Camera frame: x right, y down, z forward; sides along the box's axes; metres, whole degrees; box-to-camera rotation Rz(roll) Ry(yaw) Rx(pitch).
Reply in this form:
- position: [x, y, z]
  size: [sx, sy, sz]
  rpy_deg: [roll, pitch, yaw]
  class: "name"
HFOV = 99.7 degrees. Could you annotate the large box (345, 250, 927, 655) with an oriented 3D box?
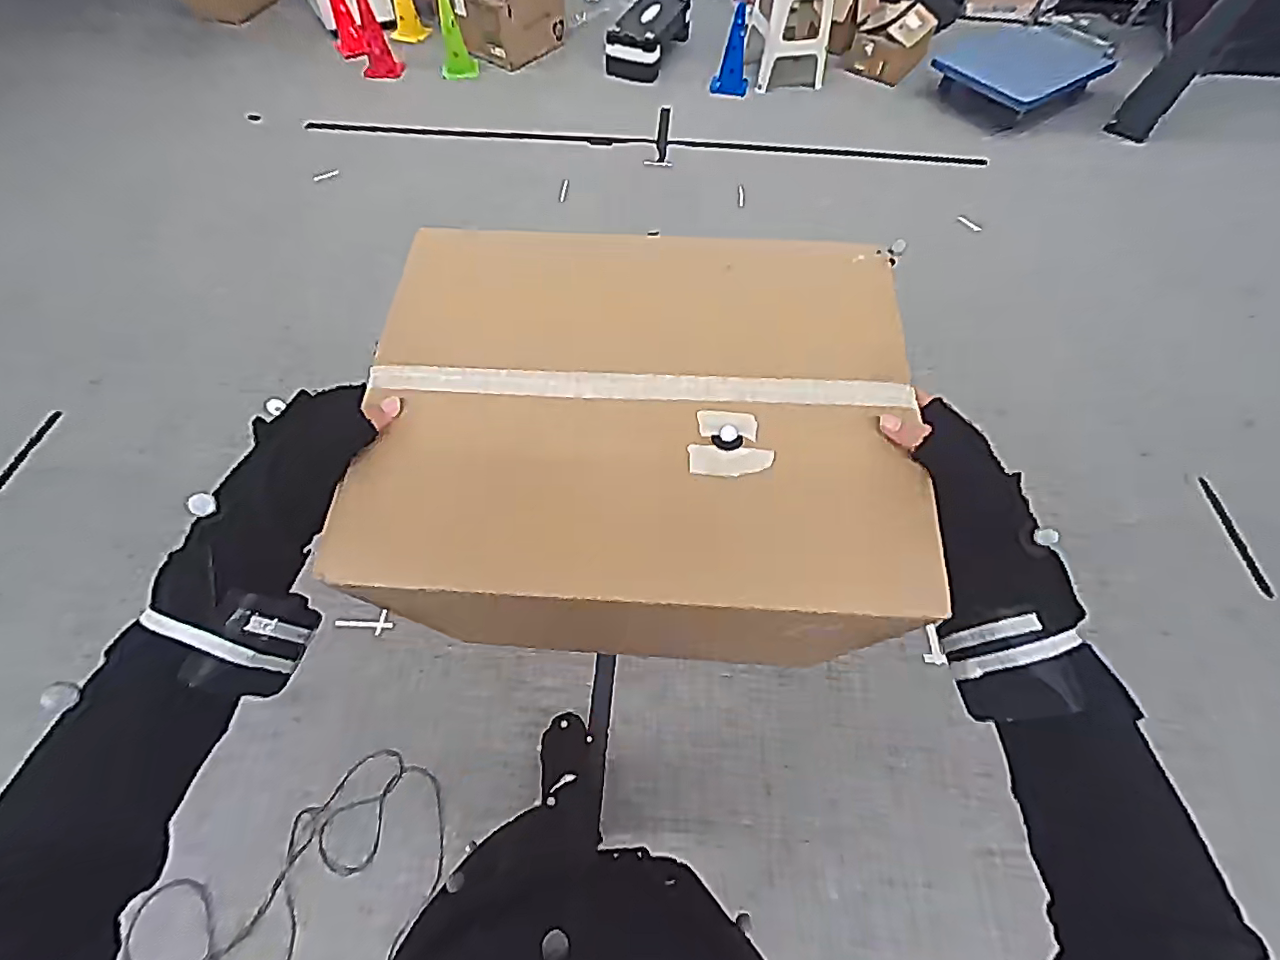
- position: [0.001, -0.003, 0.559]
  size: [0.408, 0.320, 0.320]
  rpy_deg: [3, 66, 2]
  class: "large box"
